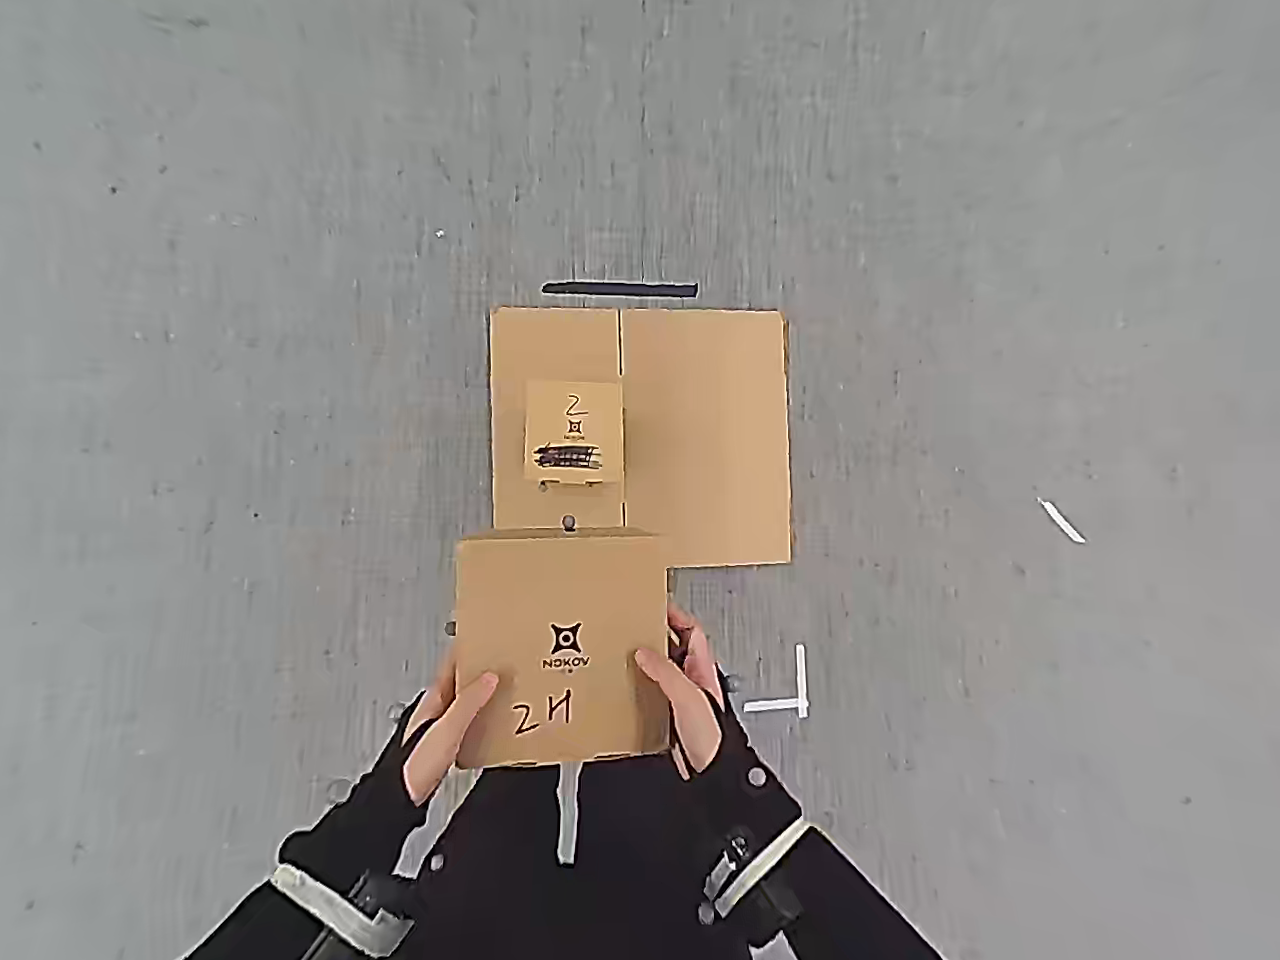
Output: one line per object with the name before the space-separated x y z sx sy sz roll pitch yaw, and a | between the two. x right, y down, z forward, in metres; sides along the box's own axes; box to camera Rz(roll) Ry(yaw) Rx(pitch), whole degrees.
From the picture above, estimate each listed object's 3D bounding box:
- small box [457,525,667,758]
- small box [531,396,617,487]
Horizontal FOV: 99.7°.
small box | -0.072 0.130 0.506 0.168 0.176 0.179 0 88 -9
small box | -0.141 -0.076 1.165 0.168 0.176 0.179 3 87 -8
